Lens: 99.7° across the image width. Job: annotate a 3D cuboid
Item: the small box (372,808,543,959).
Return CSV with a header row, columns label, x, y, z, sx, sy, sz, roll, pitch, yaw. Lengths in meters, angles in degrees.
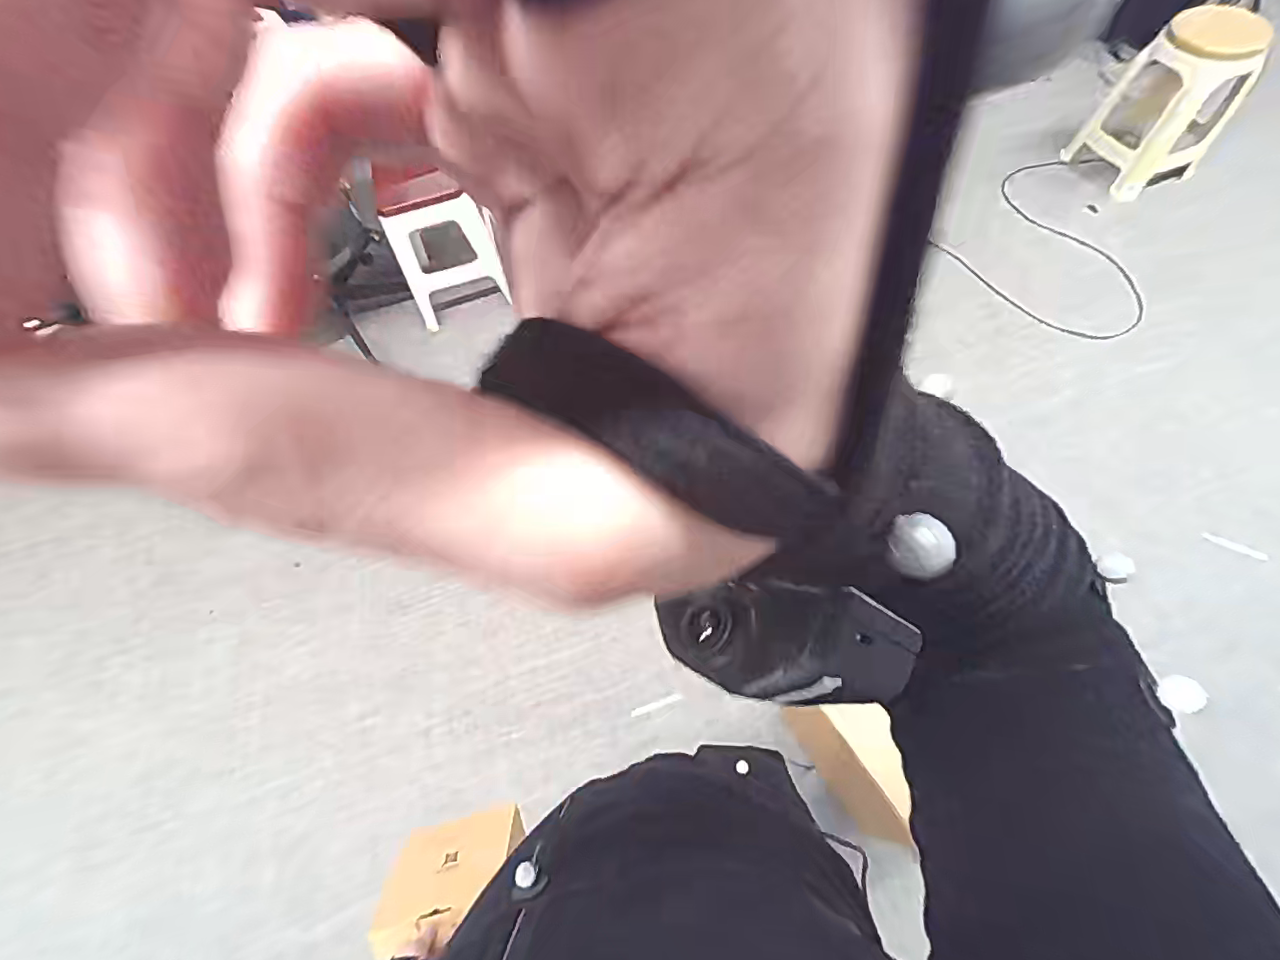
label,x,y,z,sx,sy,sz,roll,pitch,yaw
small box,-0.240,0.616,0.758,0.168,0.179,0.176,-15,95,-5
